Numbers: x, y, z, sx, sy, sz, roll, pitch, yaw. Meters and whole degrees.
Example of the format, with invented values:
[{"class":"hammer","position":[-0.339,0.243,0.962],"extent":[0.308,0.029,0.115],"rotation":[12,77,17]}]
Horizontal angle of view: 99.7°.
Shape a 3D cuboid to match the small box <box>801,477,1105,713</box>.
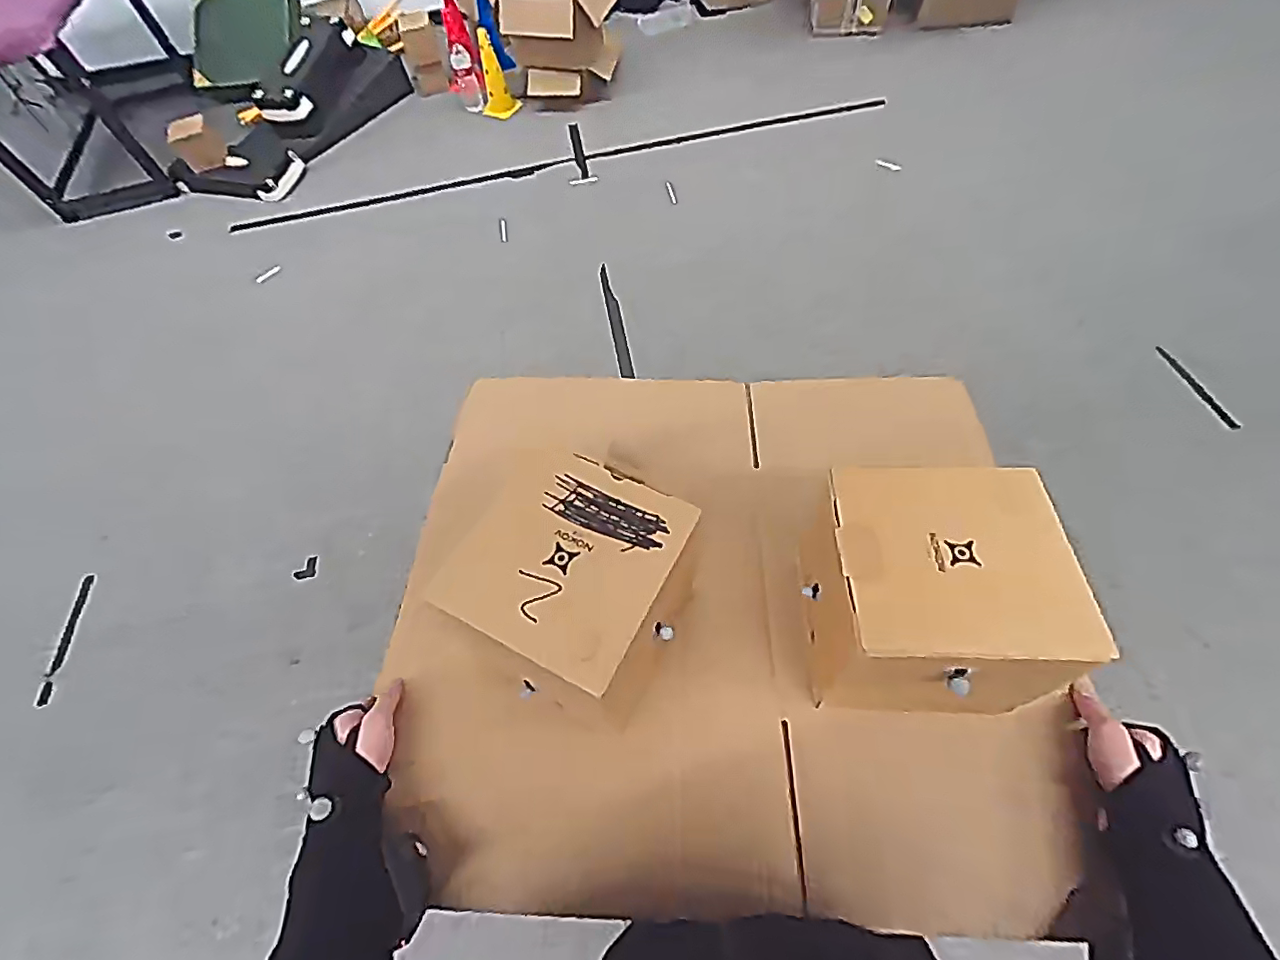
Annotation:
[{"class":"small box","position":[0.261,0.112,0.507],"extent":[0.179,0.176,0.168],"rotation":[0,55,6]}]
